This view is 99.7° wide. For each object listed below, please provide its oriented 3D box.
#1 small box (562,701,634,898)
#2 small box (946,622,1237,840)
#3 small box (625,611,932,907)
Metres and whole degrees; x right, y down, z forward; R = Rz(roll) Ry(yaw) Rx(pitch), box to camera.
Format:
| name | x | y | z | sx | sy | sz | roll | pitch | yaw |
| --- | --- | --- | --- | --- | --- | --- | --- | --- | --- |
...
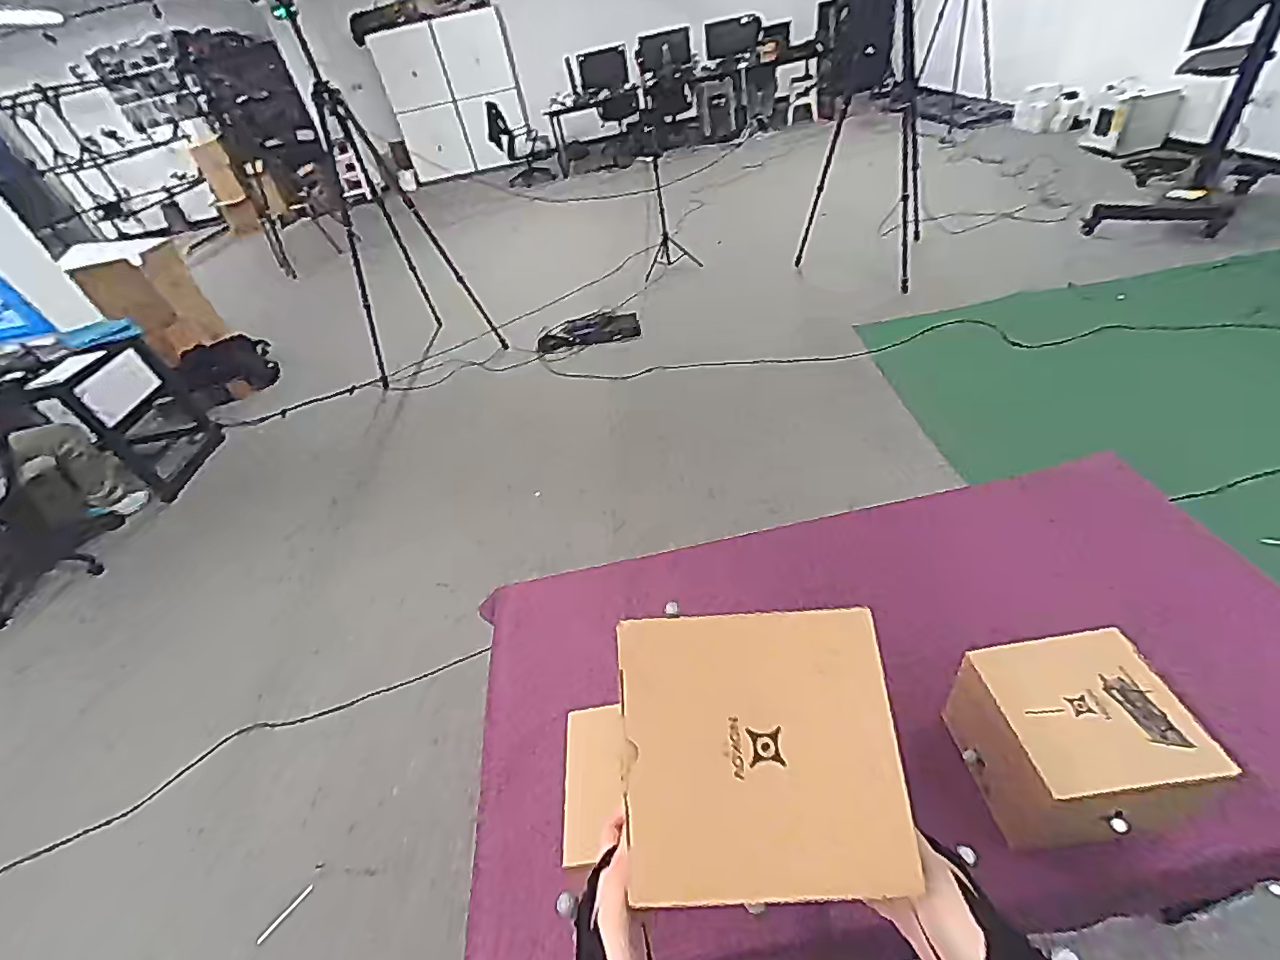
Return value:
| name | x | y | z | sx | sy | sz | roll | pitch | yaw |
| --- | --- | --- | --- | --- | --- | --- | --- | --- | --- |
| small box | 0.016 | 0.384 | 0.659 | 0.179 | 0.176 | 0.168 | -11 | 41 | 4 |
| small box | 0.492 | 0.293 | 0.628 | 0.179 | 0.176 | 0.168 | -12 | 40 | 4 |
| small box | 0.084 | 0.194 | 0.415 | 0.179 | 0.176 | 0.168 | -5 | 71 | 3 |
